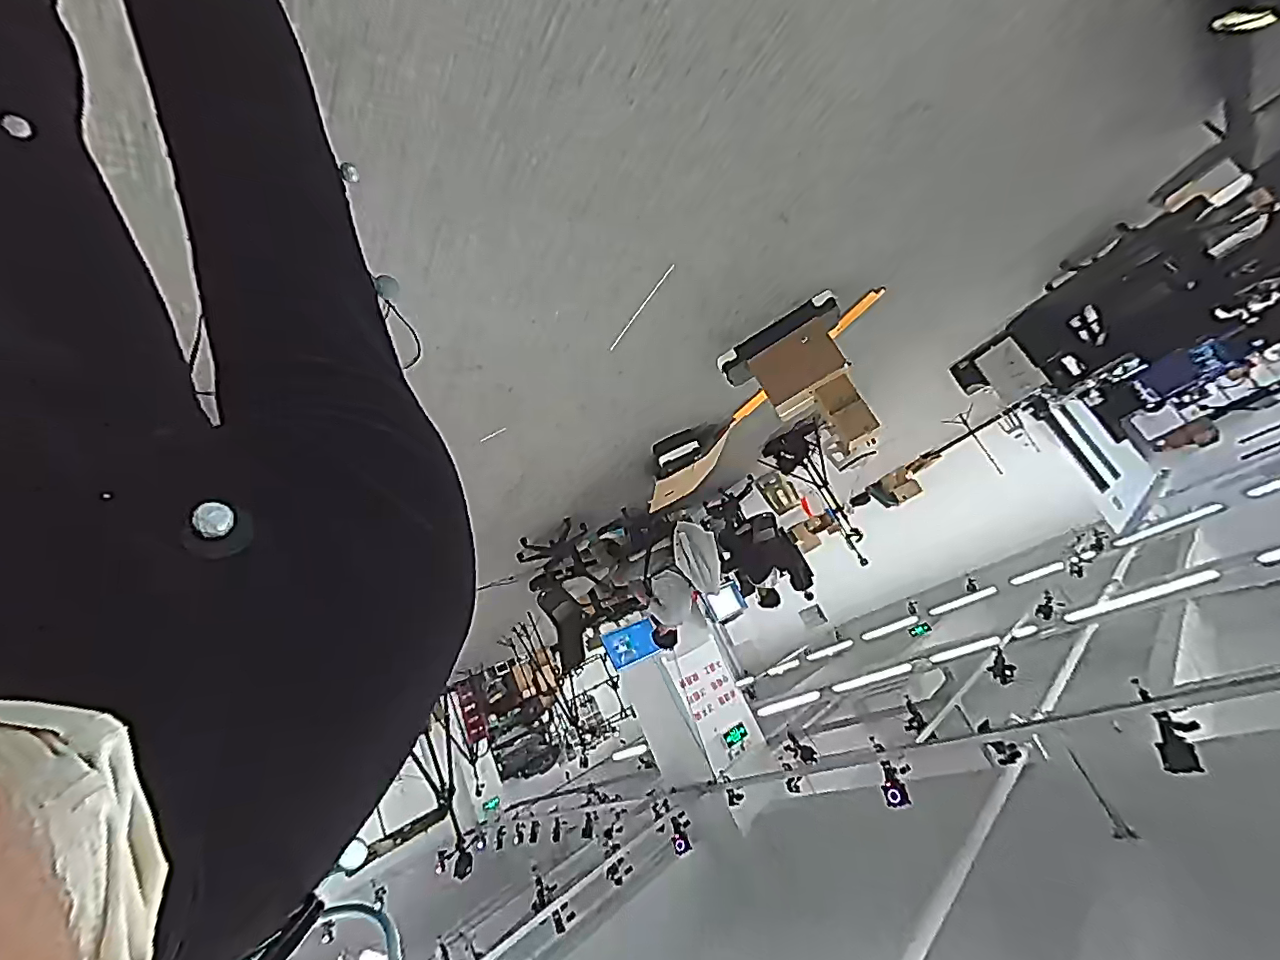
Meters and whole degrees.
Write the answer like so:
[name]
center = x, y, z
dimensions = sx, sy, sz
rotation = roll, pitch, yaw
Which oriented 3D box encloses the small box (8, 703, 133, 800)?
[small box]
center = -1.486, 0.702, 1.415
dimensions = 0.168, 0.176, 0.179
rotation = -18, 162, -24
